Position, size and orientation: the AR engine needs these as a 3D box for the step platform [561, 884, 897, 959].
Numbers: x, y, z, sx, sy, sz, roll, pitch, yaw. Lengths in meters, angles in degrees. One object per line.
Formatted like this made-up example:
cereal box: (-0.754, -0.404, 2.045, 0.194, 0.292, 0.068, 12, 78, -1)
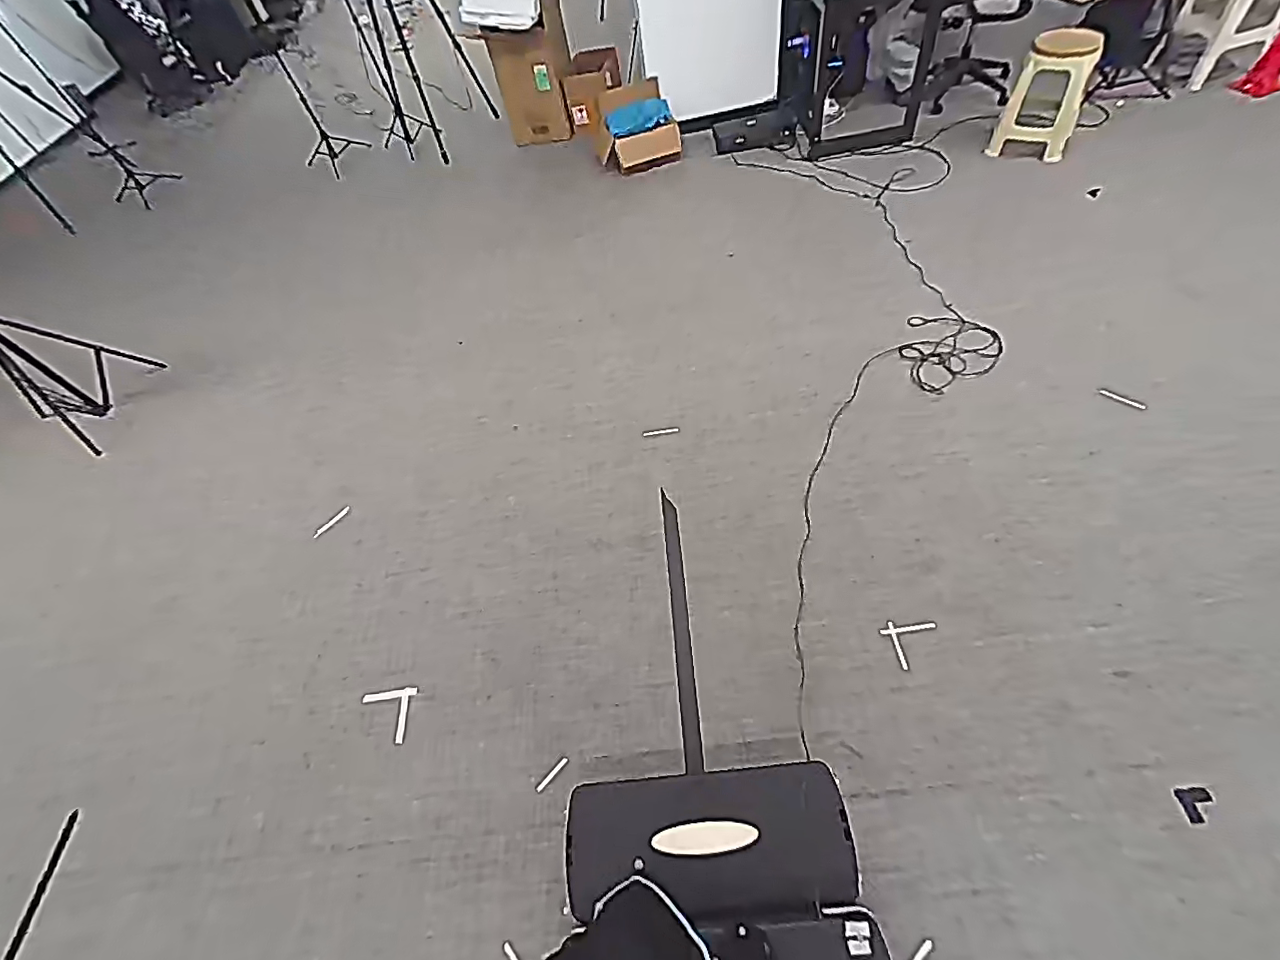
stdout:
step platform: (0.179, 1.030, 1.104, 0.684, 0.204, 0.286, -10, 53, 5)
